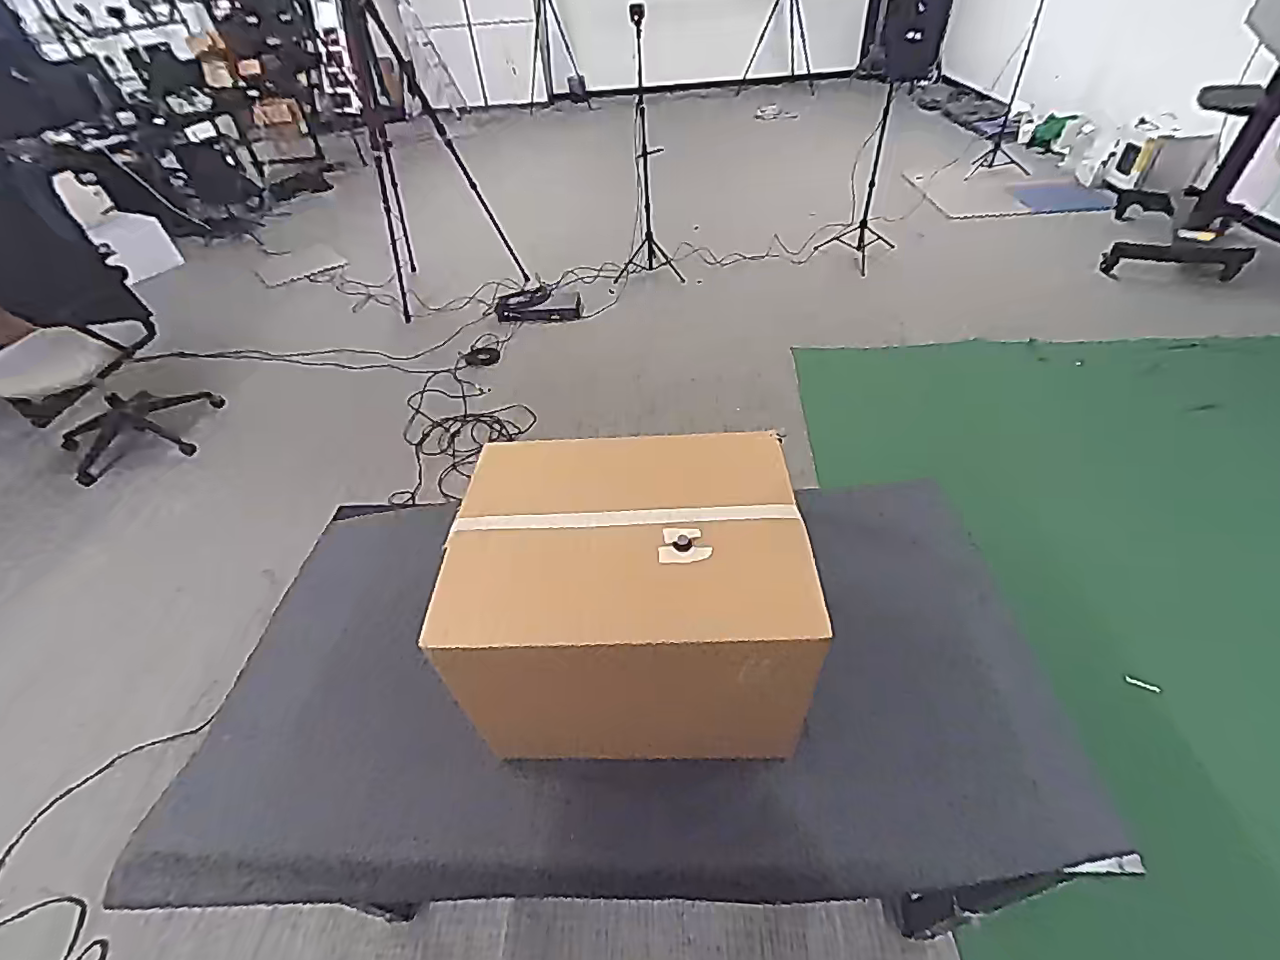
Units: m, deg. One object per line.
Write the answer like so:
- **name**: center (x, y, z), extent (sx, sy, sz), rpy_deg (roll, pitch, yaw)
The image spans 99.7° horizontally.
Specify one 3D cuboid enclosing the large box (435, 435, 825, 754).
- **large box**: center (-0.006, 0.160, 0.749), extent (0.408, 0.320, 0.320), rpy_deg (-2, 45, 3)
